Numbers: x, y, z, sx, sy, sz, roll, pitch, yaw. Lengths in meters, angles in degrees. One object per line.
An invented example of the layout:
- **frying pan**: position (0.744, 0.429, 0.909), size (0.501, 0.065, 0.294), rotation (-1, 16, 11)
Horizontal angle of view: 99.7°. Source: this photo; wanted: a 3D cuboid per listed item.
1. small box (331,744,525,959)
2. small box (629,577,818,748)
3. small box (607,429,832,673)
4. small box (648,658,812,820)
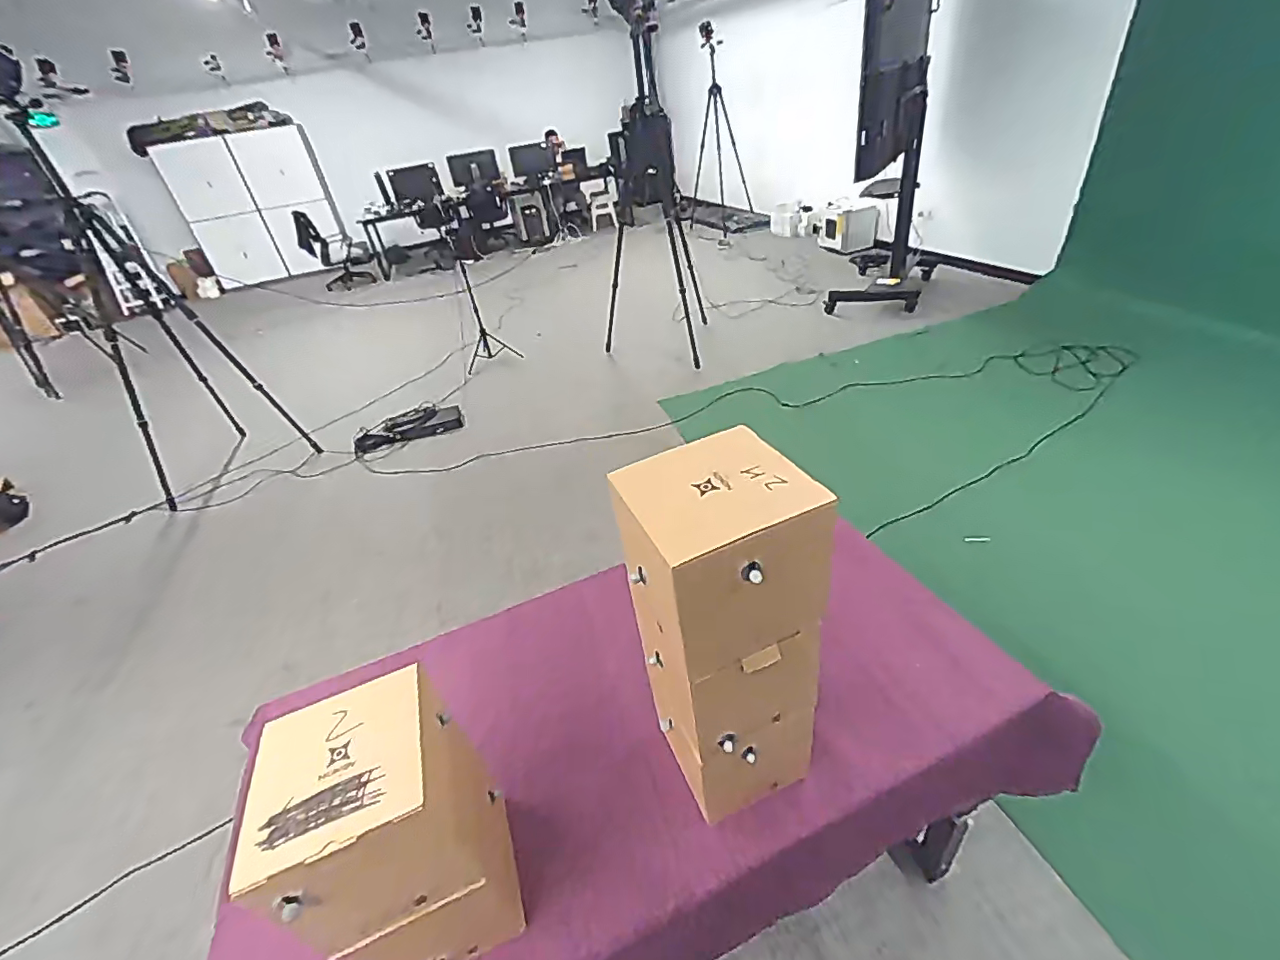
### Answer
- **small box**: position (-0.257, 0.480, 0.677), size (0.168, 0.176, 0.179), rotation (-20, 37, -12)
- **small box**: position (0.104, 0.205, 0.684), size (0.168, 0.176, 0.179), rotation (-20, 36, -14)
- **small box**: position (0.083, 0.075, 0.585), size (0.179, 0.176, 0.168), rotation (-19, 37, -13)
- **small box**: position (0.126, 0.339, 0.778), size (0.168, 0.176, 0.179), rotation (-21, 36, -13)
